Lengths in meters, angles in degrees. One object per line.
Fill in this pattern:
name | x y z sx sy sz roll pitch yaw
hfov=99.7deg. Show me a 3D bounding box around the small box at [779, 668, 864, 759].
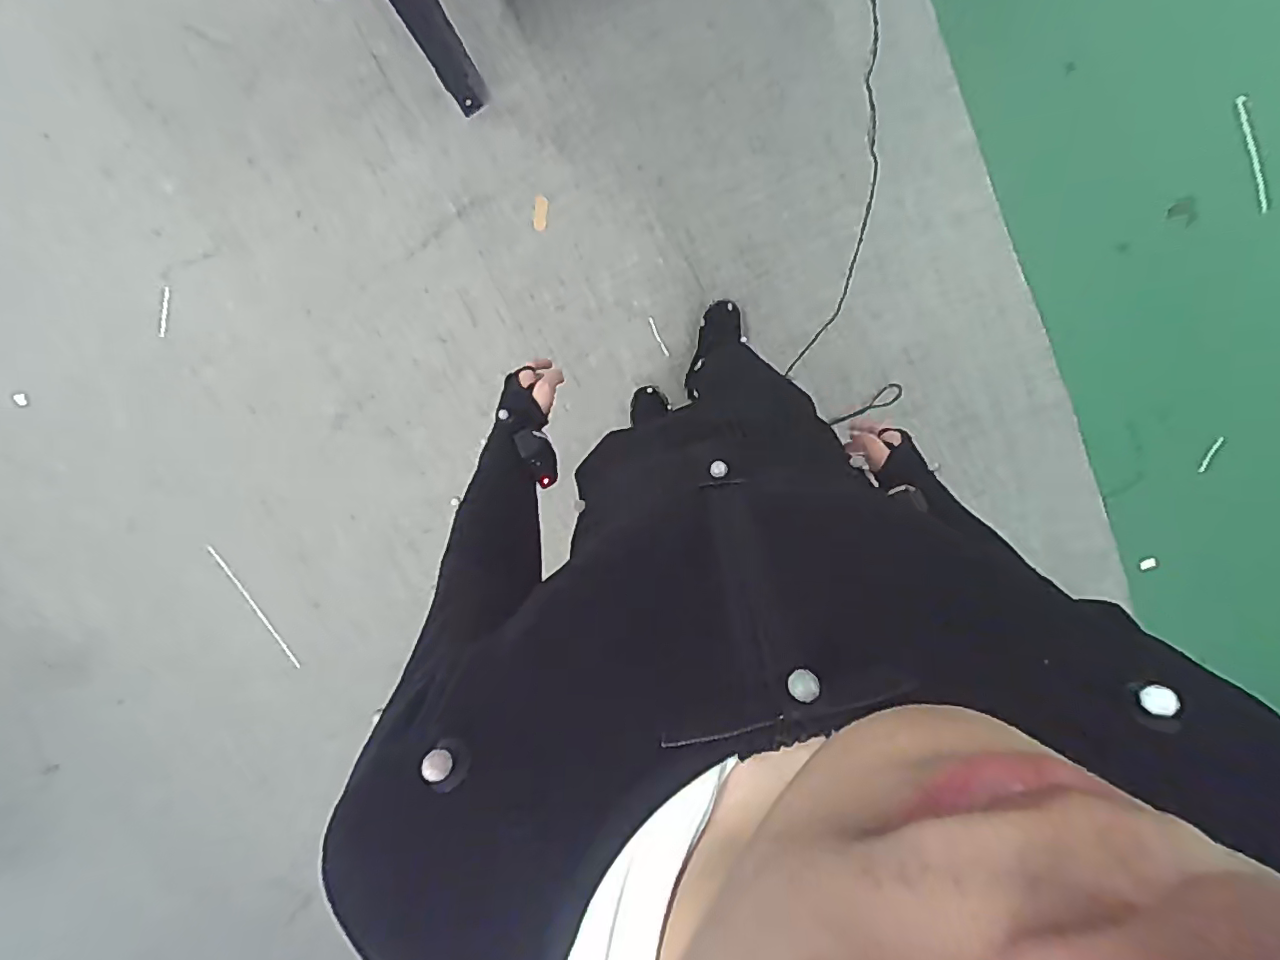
small box | 0.565 0.726 1.702 0.179 0.176 0.168 -25 101 4
